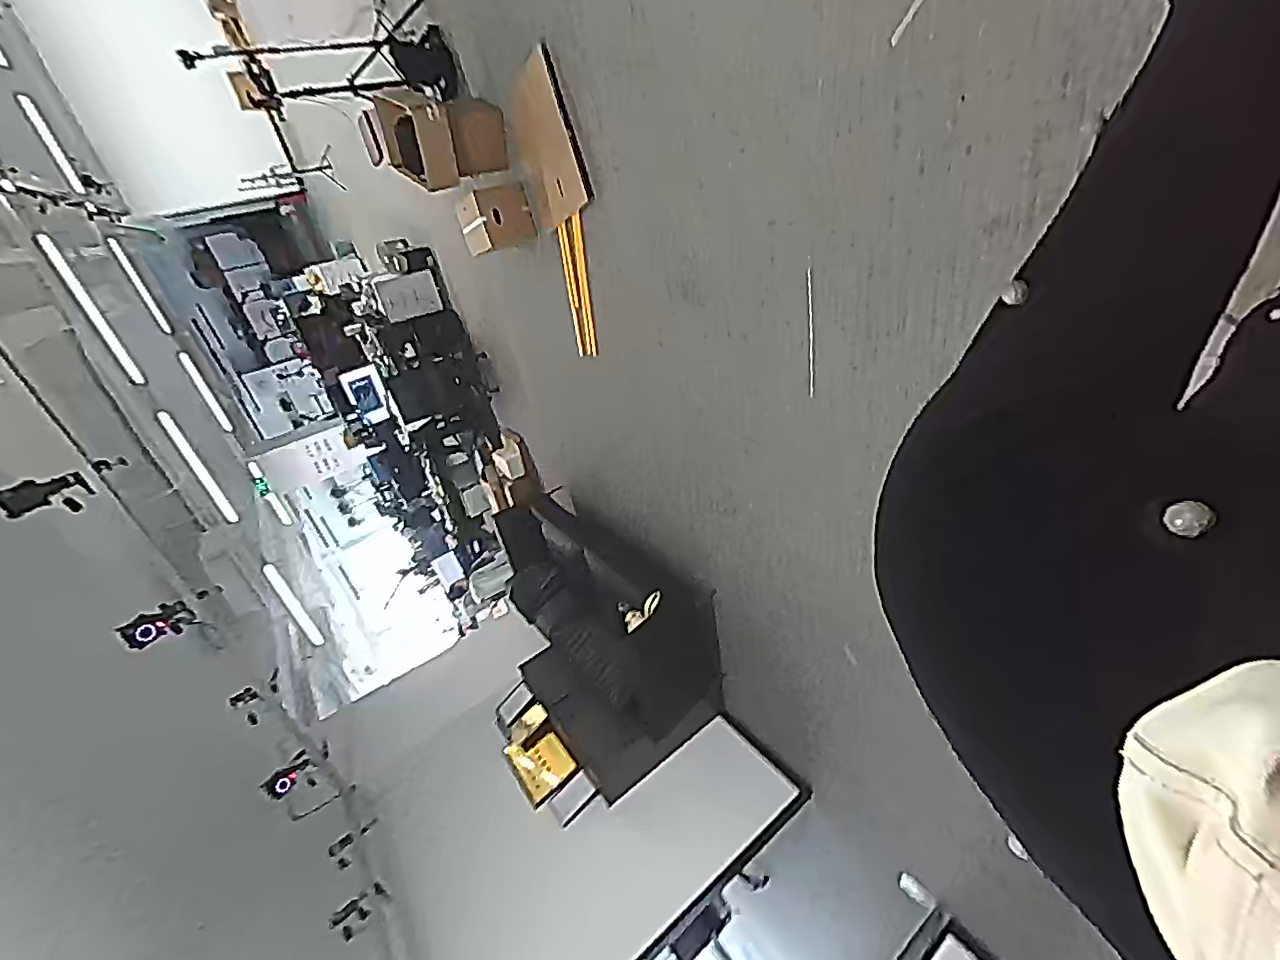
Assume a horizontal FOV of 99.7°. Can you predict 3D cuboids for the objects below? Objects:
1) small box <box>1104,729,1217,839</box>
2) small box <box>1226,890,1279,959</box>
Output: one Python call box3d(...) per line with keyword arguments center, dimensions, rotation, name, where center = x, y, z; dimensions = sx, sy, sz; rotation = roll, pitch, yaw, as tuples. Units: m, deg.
box3d(center=(1.486, 0.859, 1.543), dimensions=(0.179, 0.176, 0.168), rotation=(30, 139, 49), name="small box")
box3d(center=(1.742, 1.247, 1.443), dimensions=(0.179, 0.176, 0.168), rotation=(29, 140, 47), name="small box")
